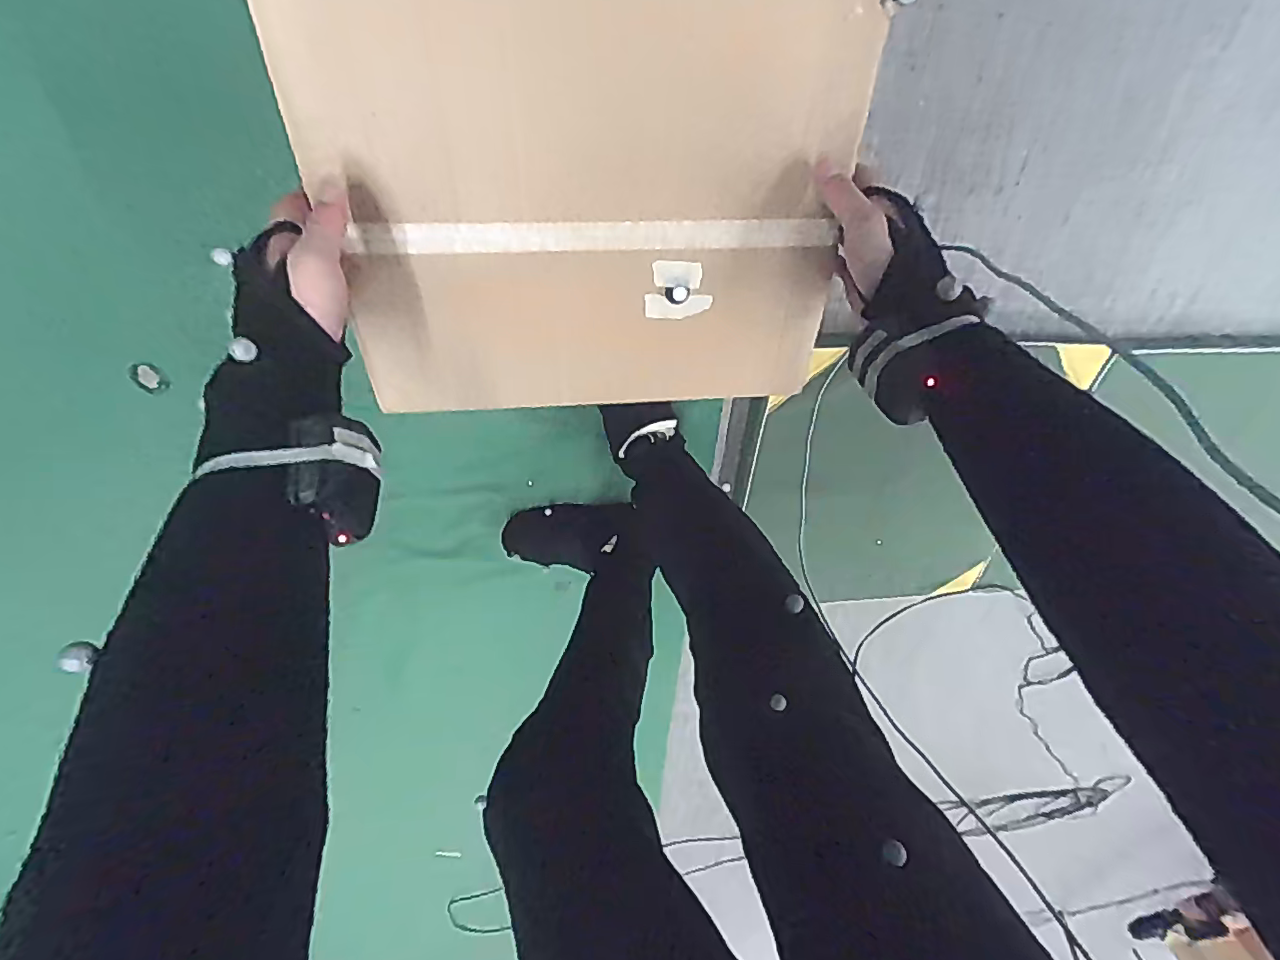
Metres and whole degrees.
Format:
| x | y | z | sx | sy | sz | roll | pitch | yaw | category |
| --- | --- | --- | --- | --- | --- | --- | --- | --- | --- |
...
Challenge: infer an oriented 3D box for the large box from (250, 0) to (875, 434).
| x | y | z | sx | sy | sz | roll | pitch | yaw | category |
| --- | --- | --- | --- | --- | --- | --- | --- | --- | --- |
| -0.060 | -0.271 | 0.546 | 0.408 | 0.320 | 0.320 | -5 | 130 | -7 | large box |
